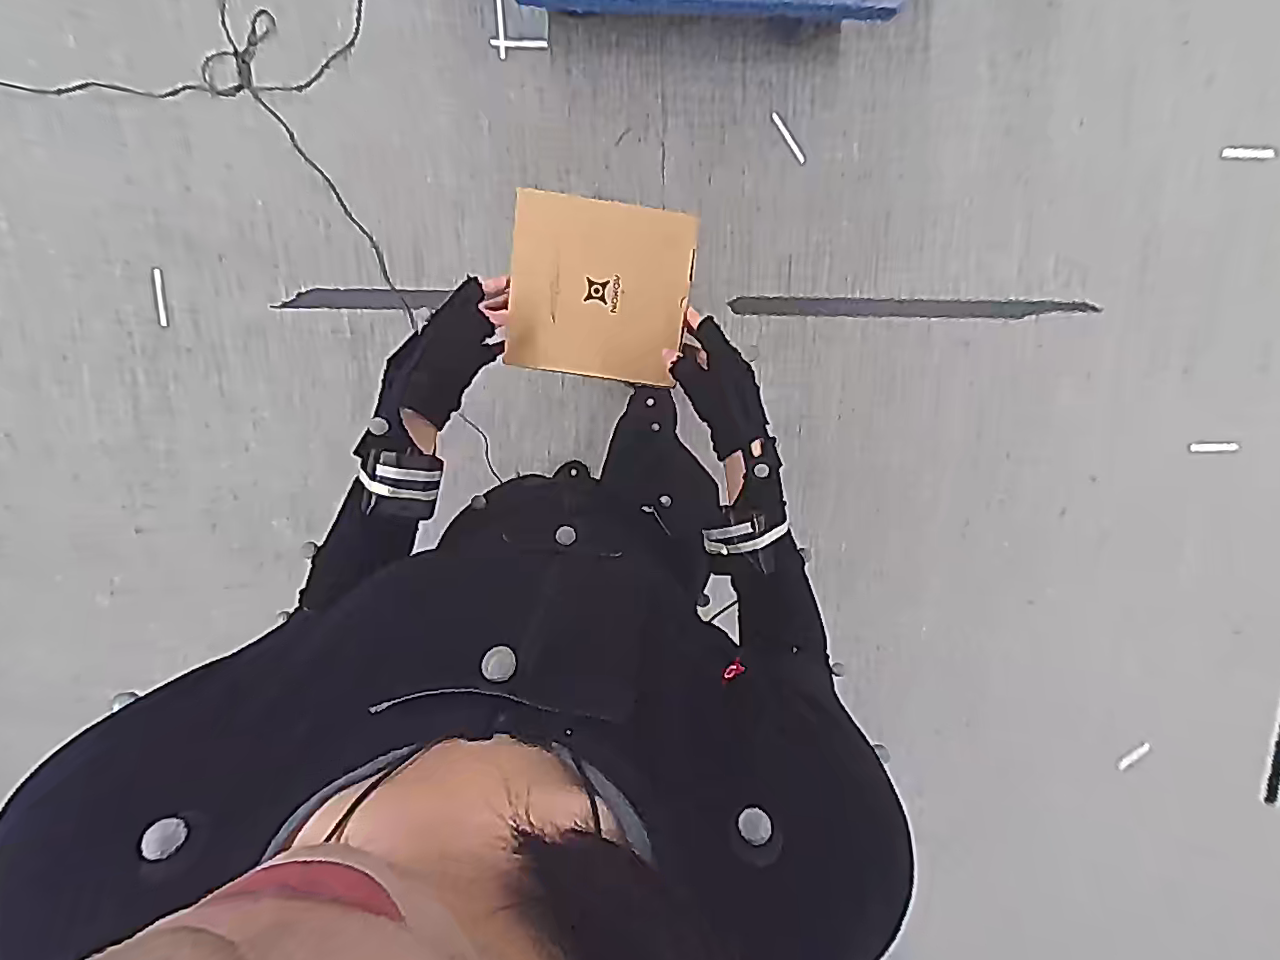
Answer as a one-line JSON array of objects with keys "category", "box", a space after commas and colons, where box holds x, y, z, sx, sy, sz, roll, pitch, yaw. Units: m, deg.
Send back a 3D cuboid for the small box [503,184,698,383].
[{"category": "small box", "box": [-0.044, -0.202, 0.604, 0.179, 0.176, 0.168, 7, 99, -4]}]
